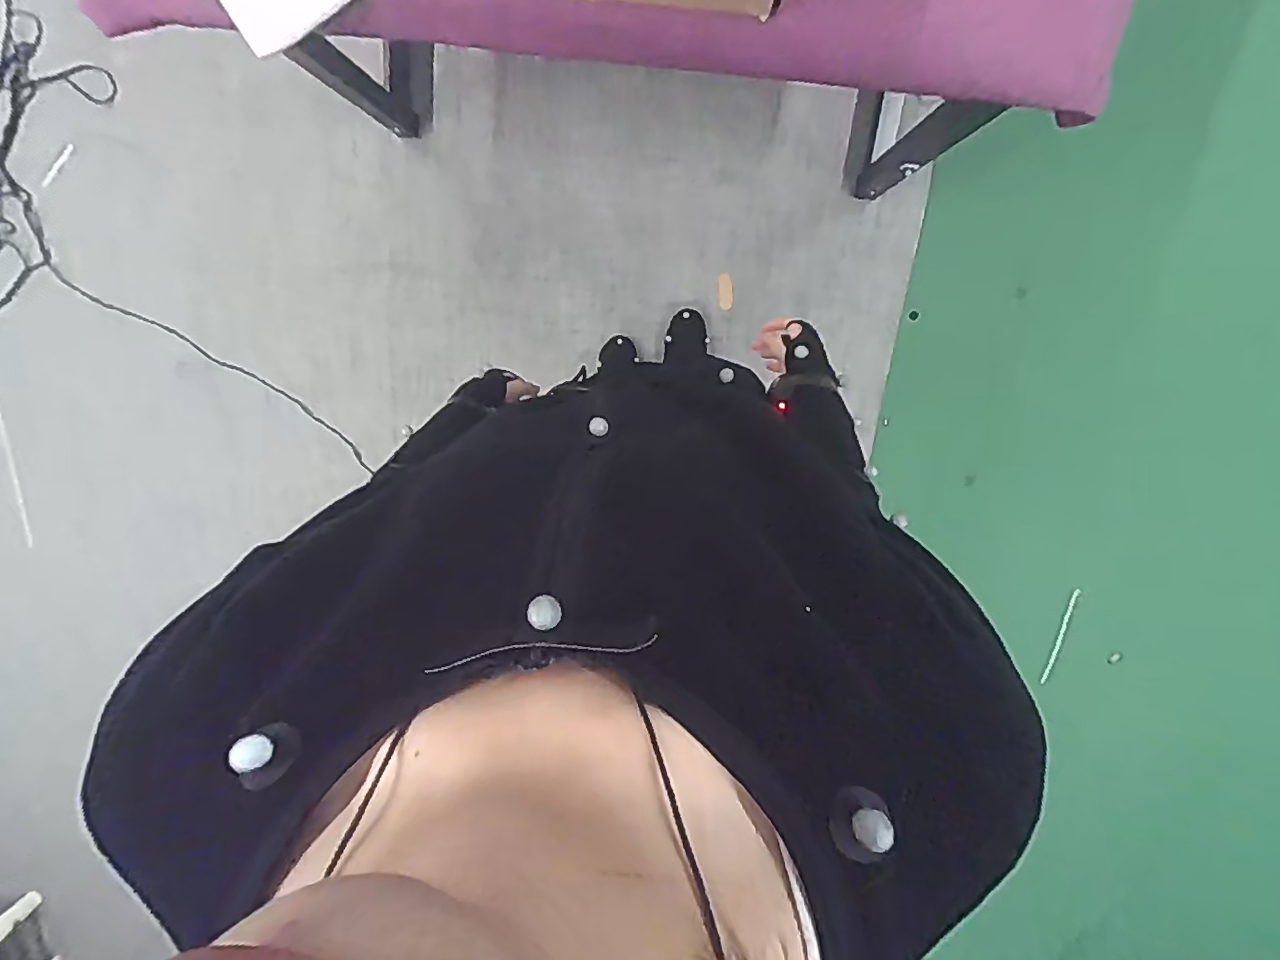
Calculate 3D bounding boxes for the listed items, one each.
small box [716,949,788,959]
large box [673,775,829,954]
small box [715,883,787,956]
[{"bbox_3d":[0.273,1.248,1.265,0.179,0.176,0.168,-1,104,4],"label":"small box"},{"bbox_3d":[0.326,1.167,1.664,0.408,0.320,0.320,-8,105,3],"label":"large box"},{"bbox_3d":[0.285,1.201,1.420,0.168,0.176,0.179,-2,104,4],"label":"small box"}]
